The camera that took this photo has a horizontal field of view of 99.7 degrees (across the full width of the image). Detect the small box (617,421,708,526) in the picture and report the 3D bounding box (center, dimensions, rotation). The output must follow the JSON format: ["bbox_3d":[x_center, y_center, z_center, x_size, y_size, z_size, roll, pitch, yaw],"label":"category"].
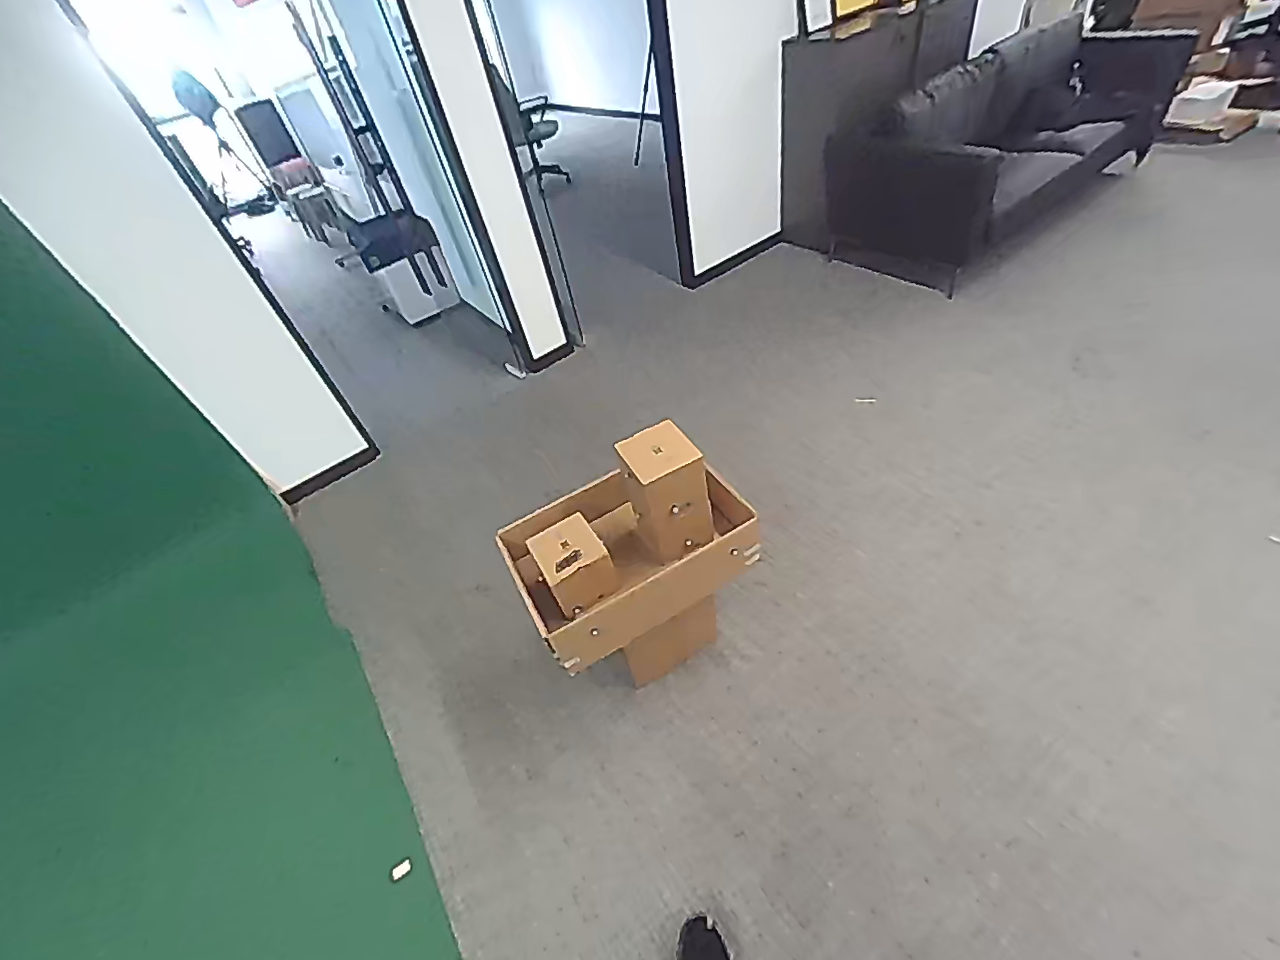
[{"bbox_3d":[0.060,-0.015,1.379,0.168,0.176,0.179,-25,45,-11],"label":"small box"}]

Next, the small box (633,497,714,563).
[{"bbox_3d":[0.090,0.096,1.494,0.168,0.176,0.179,-24,46,-11],"label":"small box"}]
